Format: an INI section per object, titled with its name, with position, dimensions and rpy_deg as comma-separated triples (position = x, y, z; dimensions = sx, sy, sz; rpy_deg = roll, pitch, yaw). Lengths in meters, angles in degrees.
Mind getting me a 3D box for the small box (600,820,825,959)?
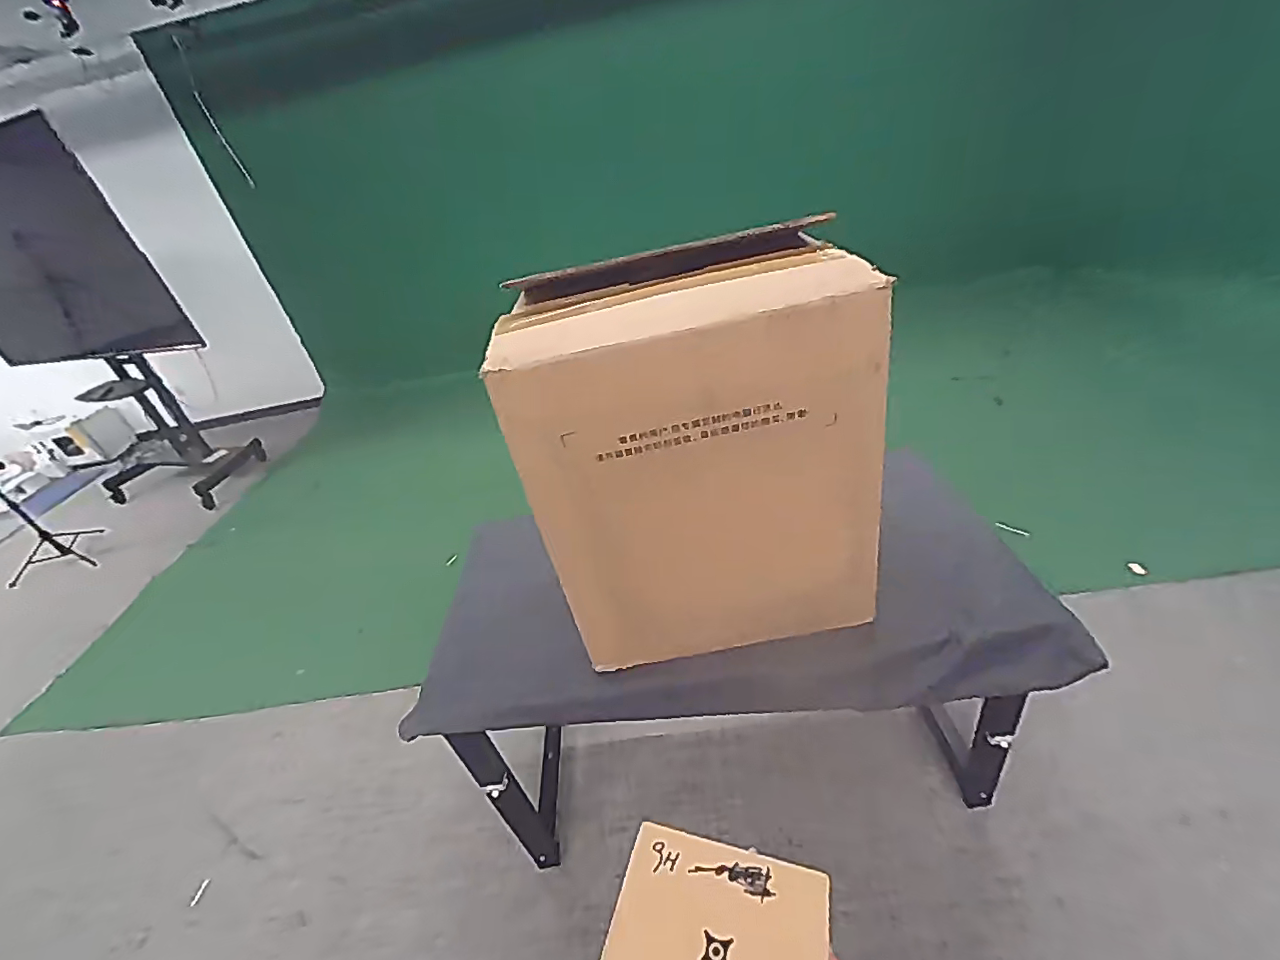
[small box]
position = 0.057, 0.433, 0.445
dimensions = 0.168, 0.176, 0.179
rpy_deg = 7, 31, 16
